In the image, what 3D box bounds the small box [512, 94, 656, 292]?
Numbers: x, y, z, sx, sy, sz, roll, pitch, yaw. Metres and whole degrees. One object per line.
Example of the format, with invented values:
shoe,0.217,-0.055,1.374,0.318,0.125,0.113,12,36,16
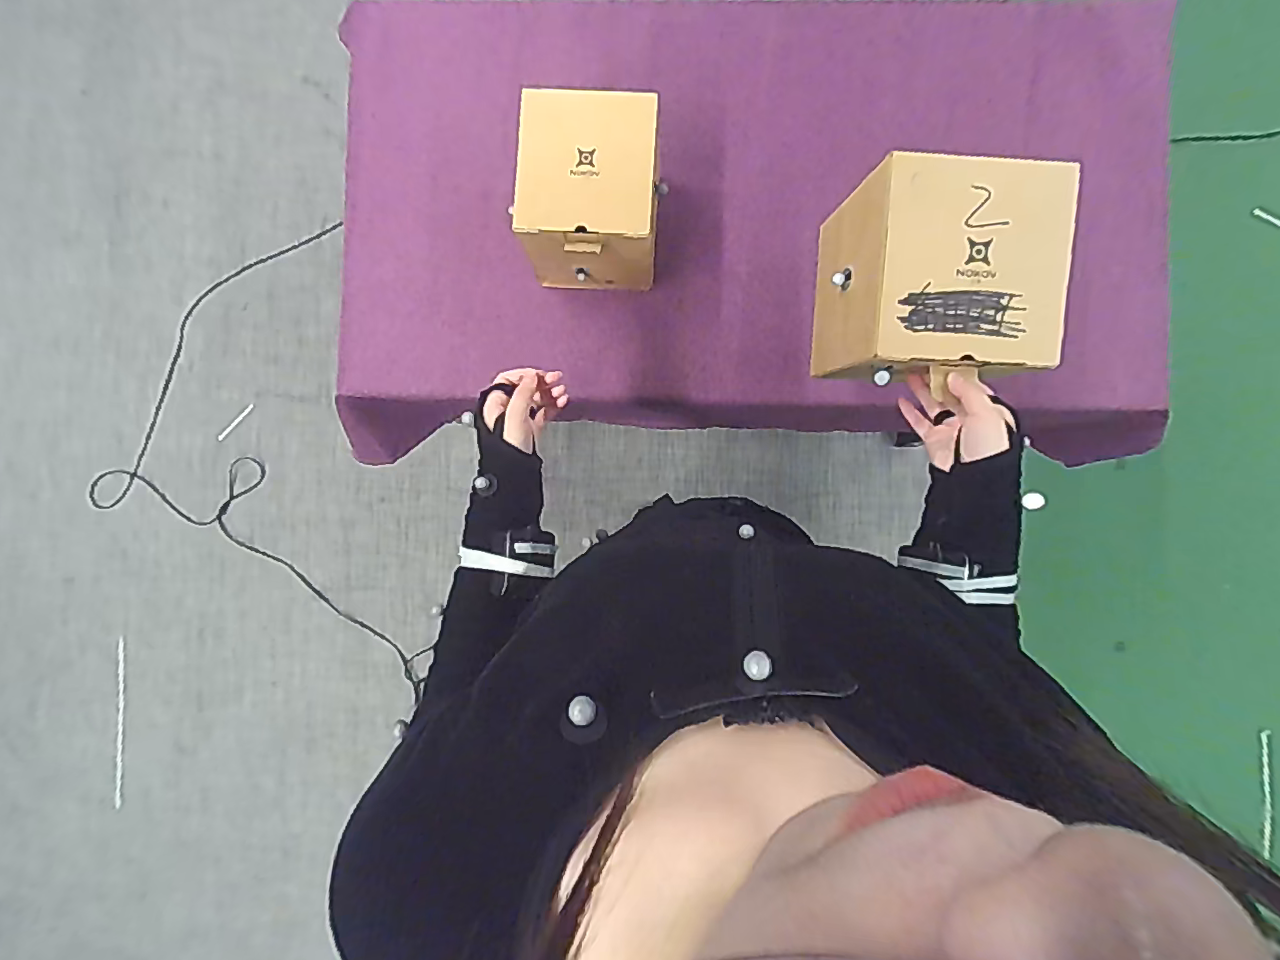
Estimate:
small box,-0.068,-0.378,0.736,0.168,0.176,0.179,4,89,1
